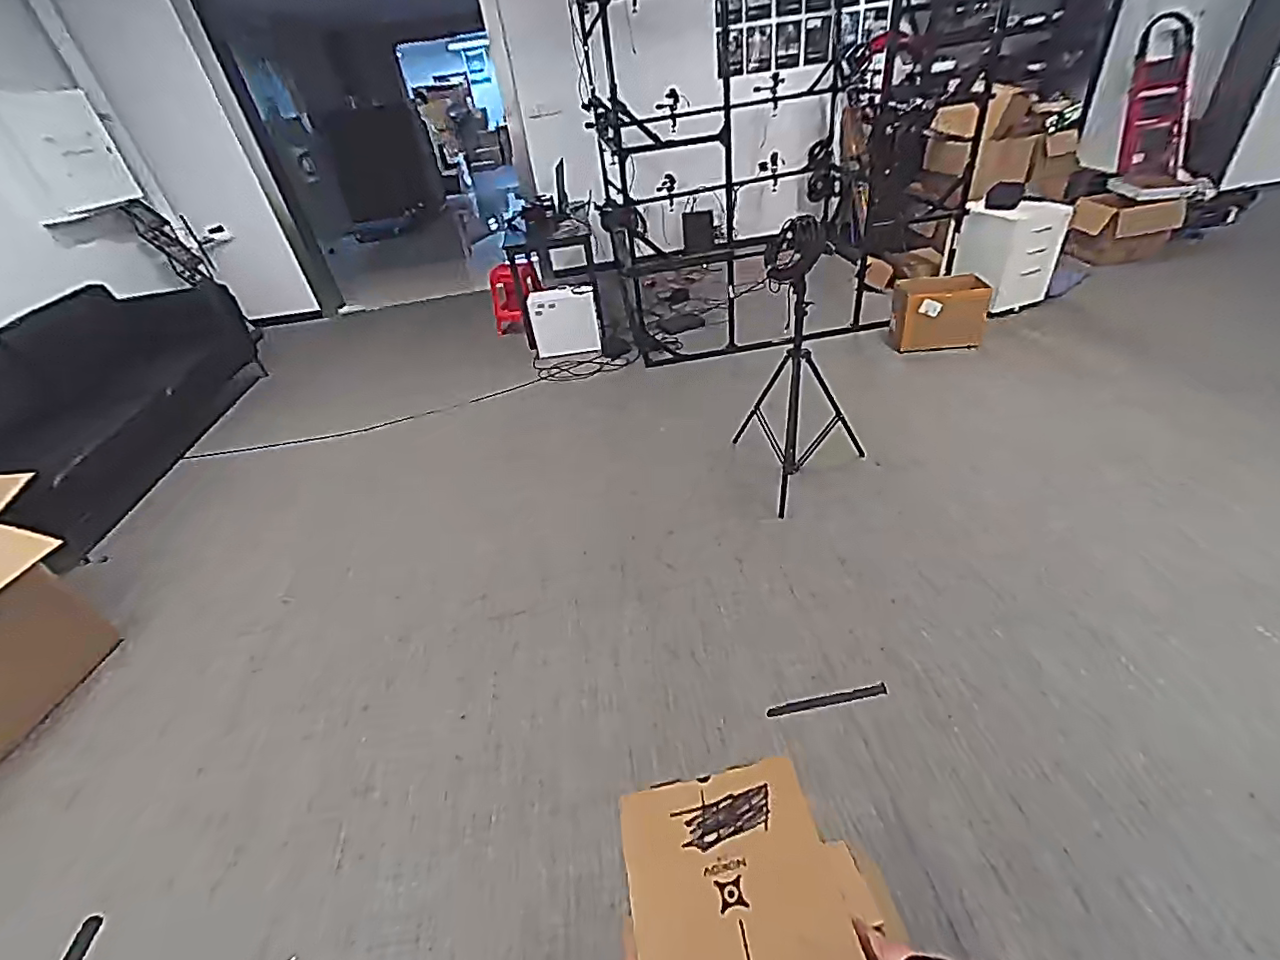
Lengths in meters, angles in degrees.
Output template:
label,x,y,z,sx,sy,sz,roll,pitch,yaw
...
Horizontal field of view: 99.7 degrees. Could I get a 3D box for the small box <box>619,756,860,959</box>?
label,x,y,z,sx,sy,sz,roll,pitch,yaw
small box,0.081,0.390,0.488,0.168,0.176,0.179,-12,36,-2
